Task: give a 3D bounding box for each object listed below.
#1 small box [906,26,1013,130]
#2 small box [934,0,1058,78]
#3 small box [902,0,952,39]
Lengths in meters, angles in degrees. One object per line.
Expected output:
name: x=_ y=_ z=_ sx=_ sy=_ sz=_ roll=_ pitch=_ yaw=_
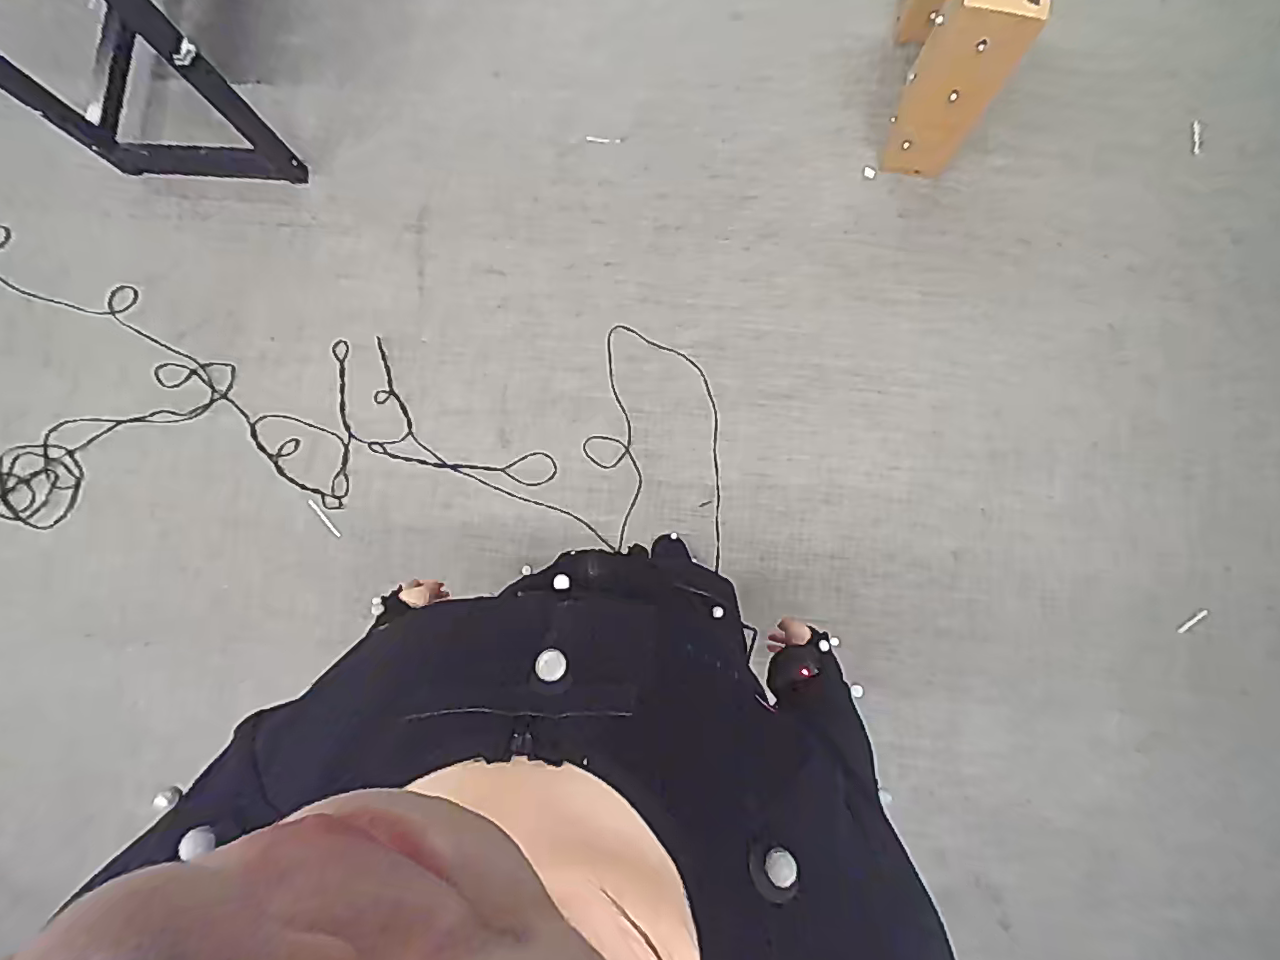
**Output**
small box: x=0.805 y=-1.020 z=1.359 sx=0.179 sy=0.176 sz=0.168 roll=12 pitch=85 yaw=4
small box: x=0.790 y=-1.039 z=1.196 sx=0.179 sy=0.176 sz=0.168 roll=14 pitch=85 yaw=5
small box: x=0.883 y=-1.417 z=1.560 sx=0.179 sy=0.176 sz=0.168 roll=9 pitch=85 yaw=4
